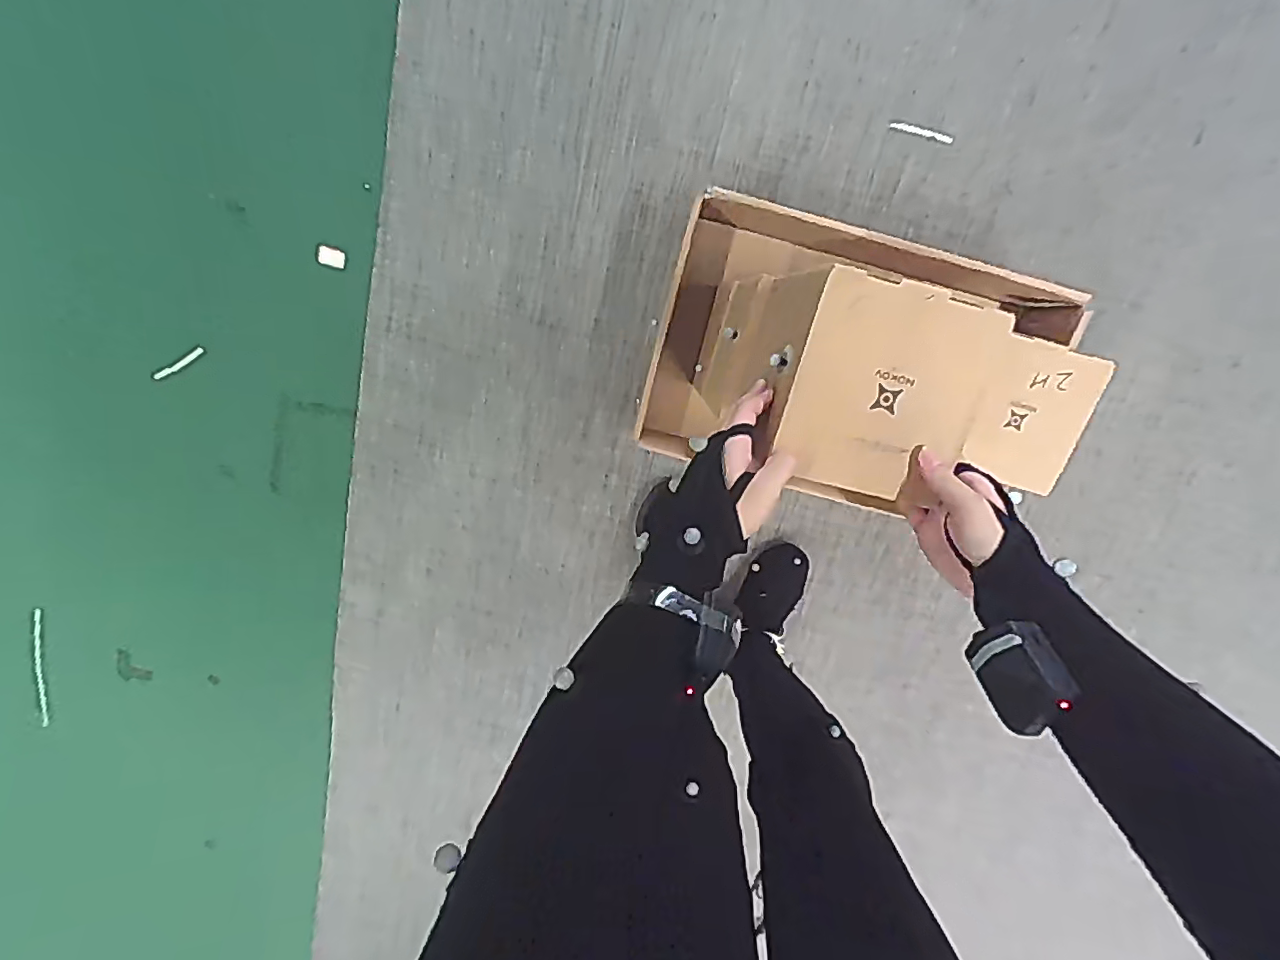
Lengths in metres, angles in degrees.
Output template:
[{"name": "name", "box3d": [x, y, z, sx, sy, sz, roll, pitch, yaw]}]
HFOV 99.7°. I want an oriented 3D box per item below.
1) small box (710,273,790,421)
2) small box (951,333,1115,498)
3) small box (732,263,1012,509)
[{"name": "small box", "box3d": [0.197, -0.158, 0.718, 0.168, 0.176, 0.179, 14, 106, -3]}, {"name": "small box", "box3d": [0.463, -0.100, 0.732, 0.168, 0.176, 0.179, 16, 106, -2]}, {"name": "small box", "box3d": [0.202, -0.094, 0.531, 0.168, 0.176, 0.179, 13, 106, -6]}]
